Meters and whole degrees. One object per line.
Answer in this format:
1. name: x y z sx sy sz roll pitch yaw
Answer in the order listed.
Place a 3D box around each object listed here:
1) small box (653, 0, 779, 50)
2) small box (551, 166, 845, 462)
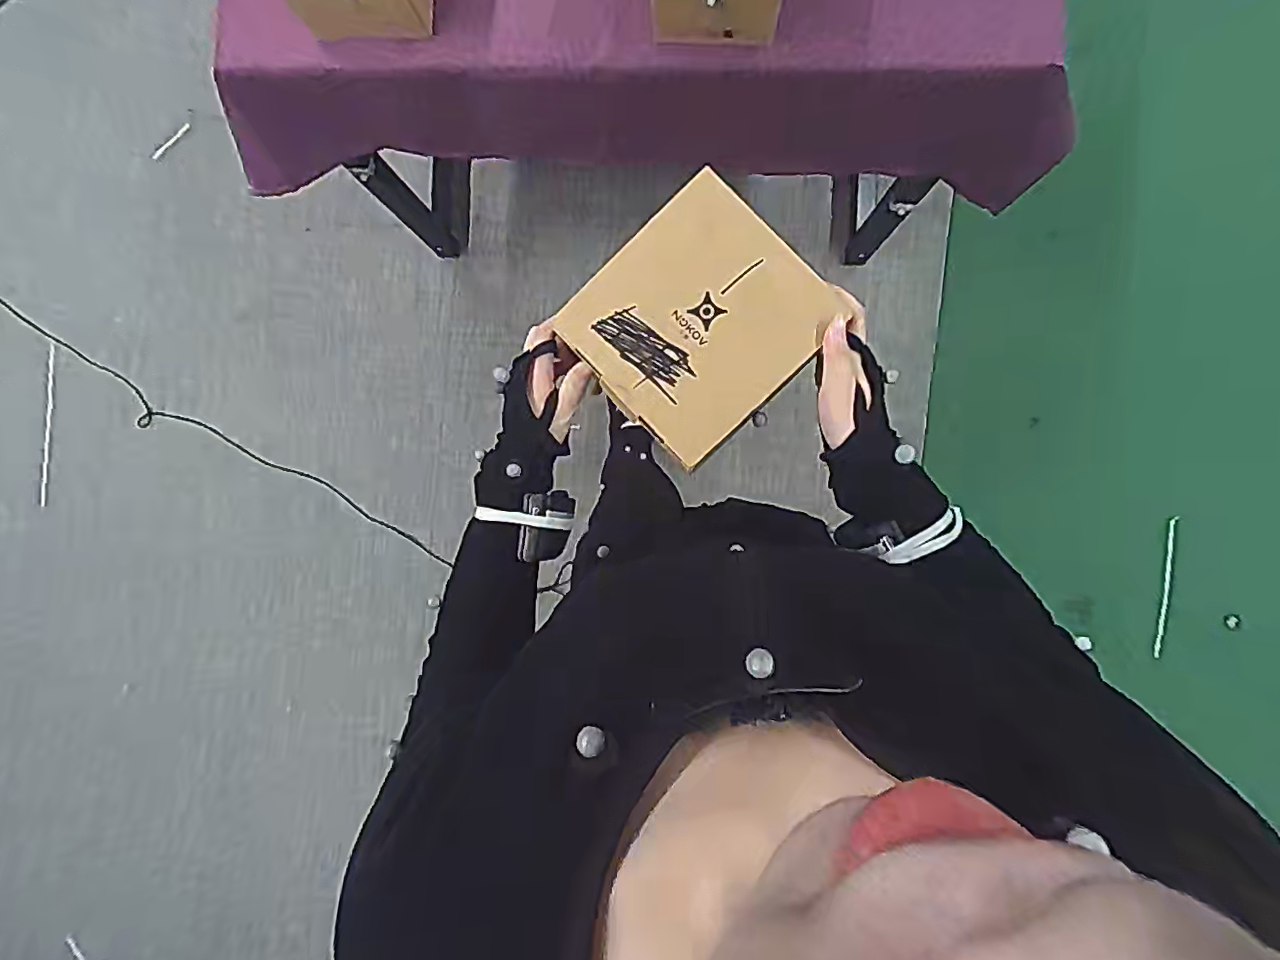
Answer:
1. small box: 0.103 -0.689 0.680 0.168 0.176 0.179 6 90 2
2. small box: 0.050 -0.129 0.503 0.179 0.176 0.168 -43 87 3
